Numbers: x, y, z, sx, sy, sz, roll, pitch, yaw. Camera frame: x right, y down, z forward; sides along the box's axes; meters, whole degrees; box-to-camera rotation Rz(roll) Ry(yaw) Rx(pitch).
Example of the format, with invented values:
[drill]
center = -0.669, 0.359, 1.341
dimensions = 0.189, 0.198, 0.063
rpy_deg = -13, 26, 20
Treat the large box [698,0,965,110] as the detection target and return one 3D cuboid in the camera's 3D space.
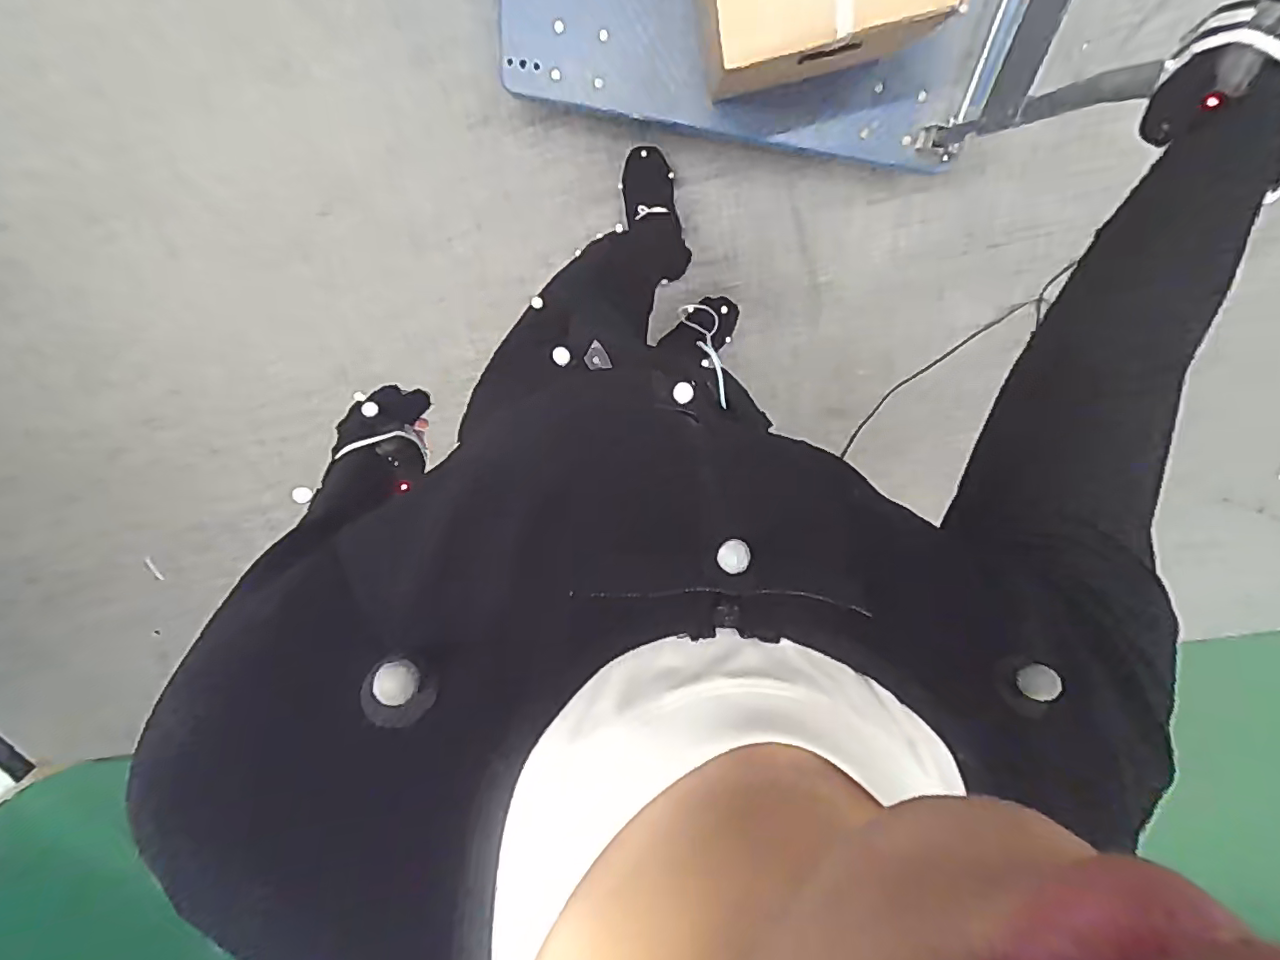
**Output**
[large box]
center = 0.233, -0.815, 0.765
dimensions = 0.320, 0.320, 0.408
rpy_deg = -10, 117, 9
